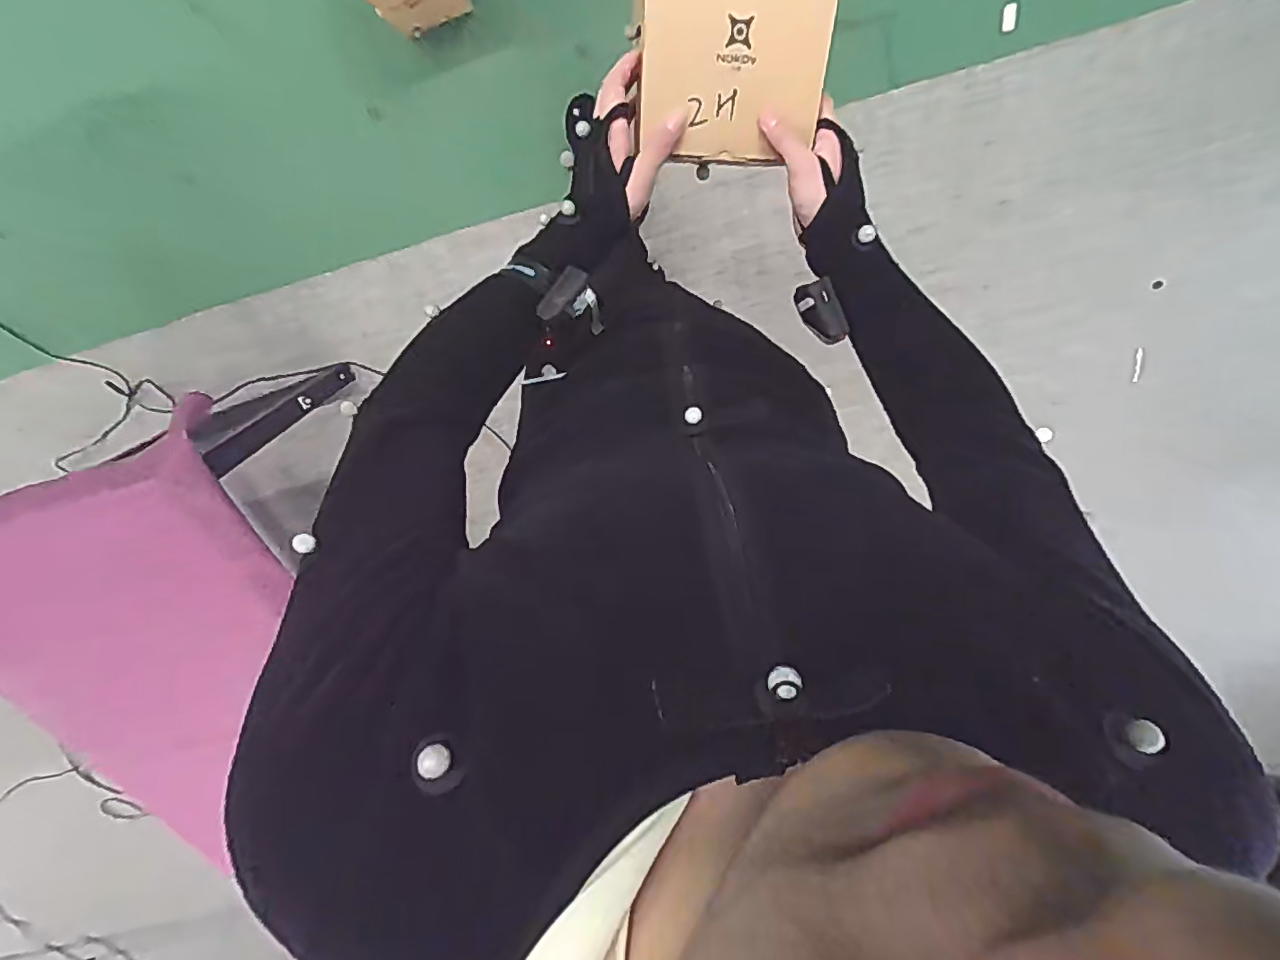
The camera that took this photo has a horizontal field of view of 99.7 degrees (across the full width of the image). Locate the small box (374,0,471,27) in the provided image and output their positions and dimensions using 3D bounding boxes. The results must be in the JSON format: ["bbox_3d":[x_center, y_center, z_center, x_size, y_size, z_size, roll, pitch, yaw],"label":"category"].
[{"bbox_3d":[-0.454,-1.032,1.062,0.168,0.176,0.179,-17,116,6],"label":"small box"}]

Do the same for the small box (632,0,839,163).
[{"bbox_3d":[0.080,-0.422,0.535,0.168,0.176,0.179,1,120,-4],"label":"small box"}]
